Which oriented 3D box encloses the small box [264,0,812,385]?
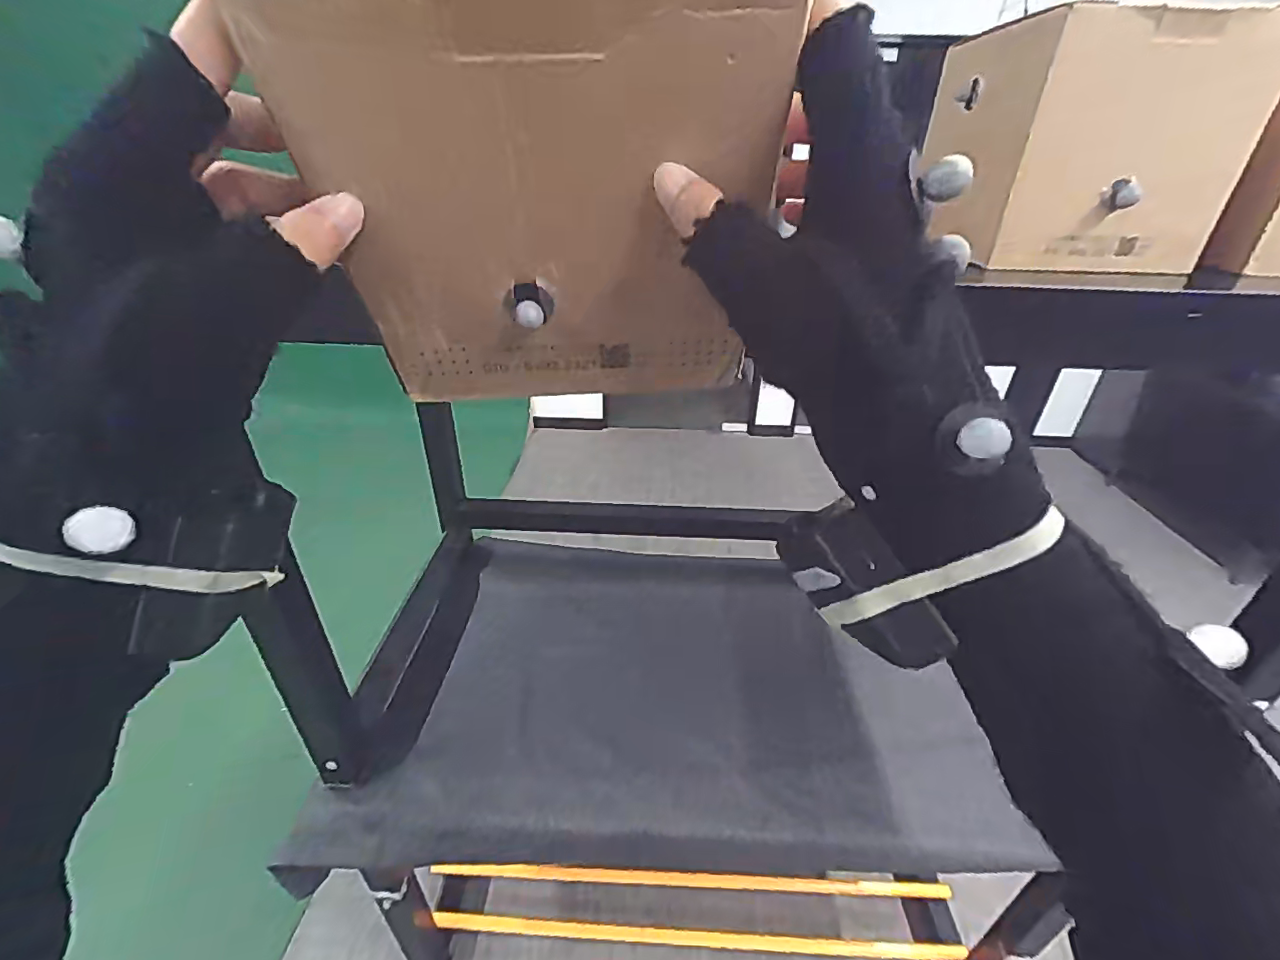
[{"bbox_3d":[-0.036,-0.166,0.257,0.168,0.176,0.179,-3,54,-2],"label":"small box"}]

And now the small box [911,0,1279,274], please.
[{"bbox_3d":[0.363,-0.283,0.464,0.168,0.176,0.179,2,31,1],"label":"small box"}]
